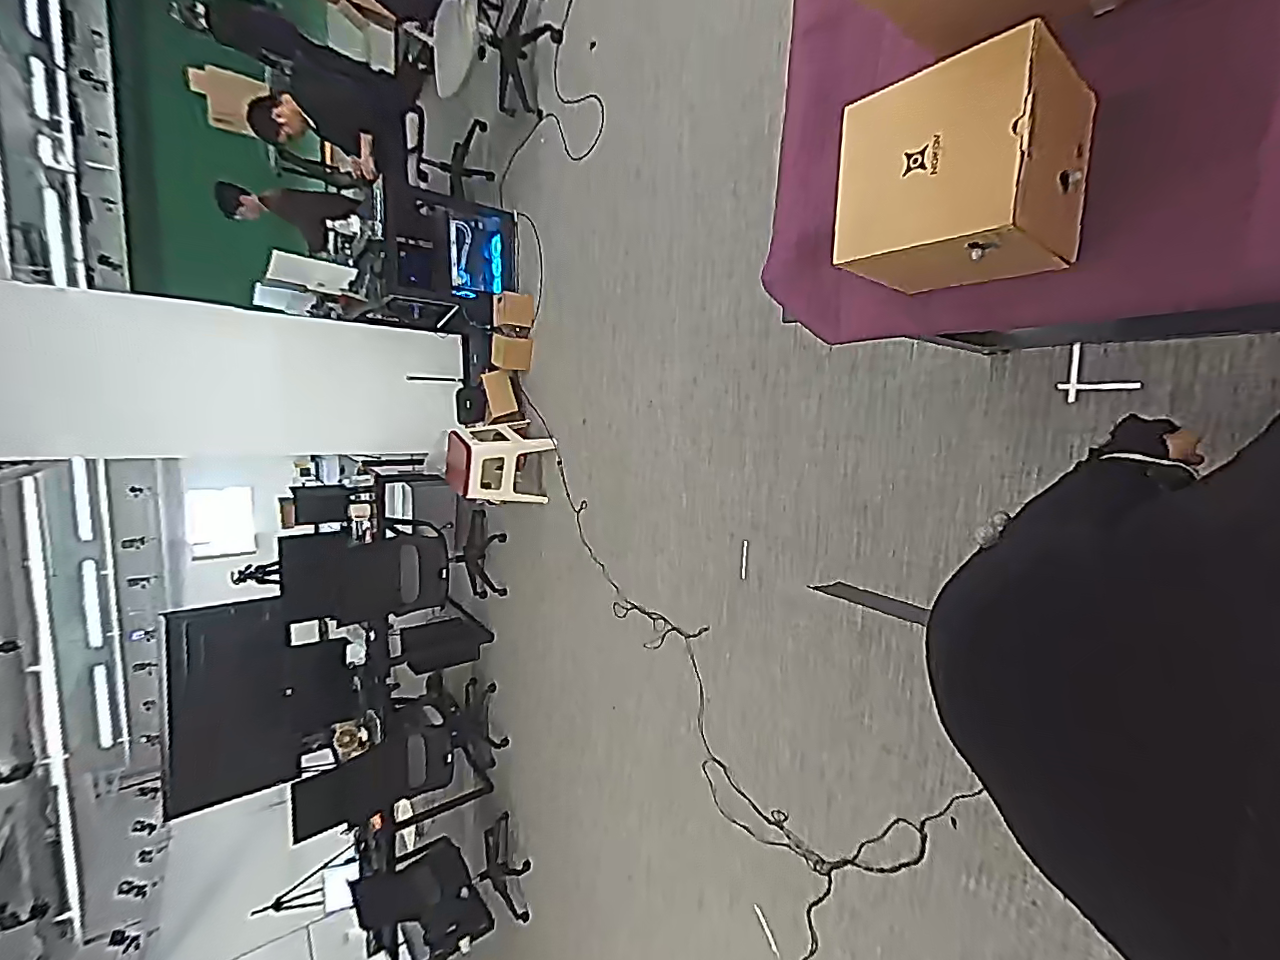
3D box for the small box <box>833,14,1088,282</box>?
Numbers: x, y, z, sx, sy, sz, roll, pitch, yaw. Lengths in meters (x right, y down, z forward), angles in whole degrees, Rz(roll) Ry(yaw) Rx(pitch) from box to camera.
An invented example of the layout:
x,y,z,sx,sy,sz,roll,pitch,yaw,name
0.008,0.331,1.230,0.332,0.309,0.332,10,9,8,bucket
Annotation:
x,y,z,sx,sy,sz,roll,pitch,yaw,name
0.333,-0.319,0.572,0.179,0.176,0.168,9,100,52,small box
